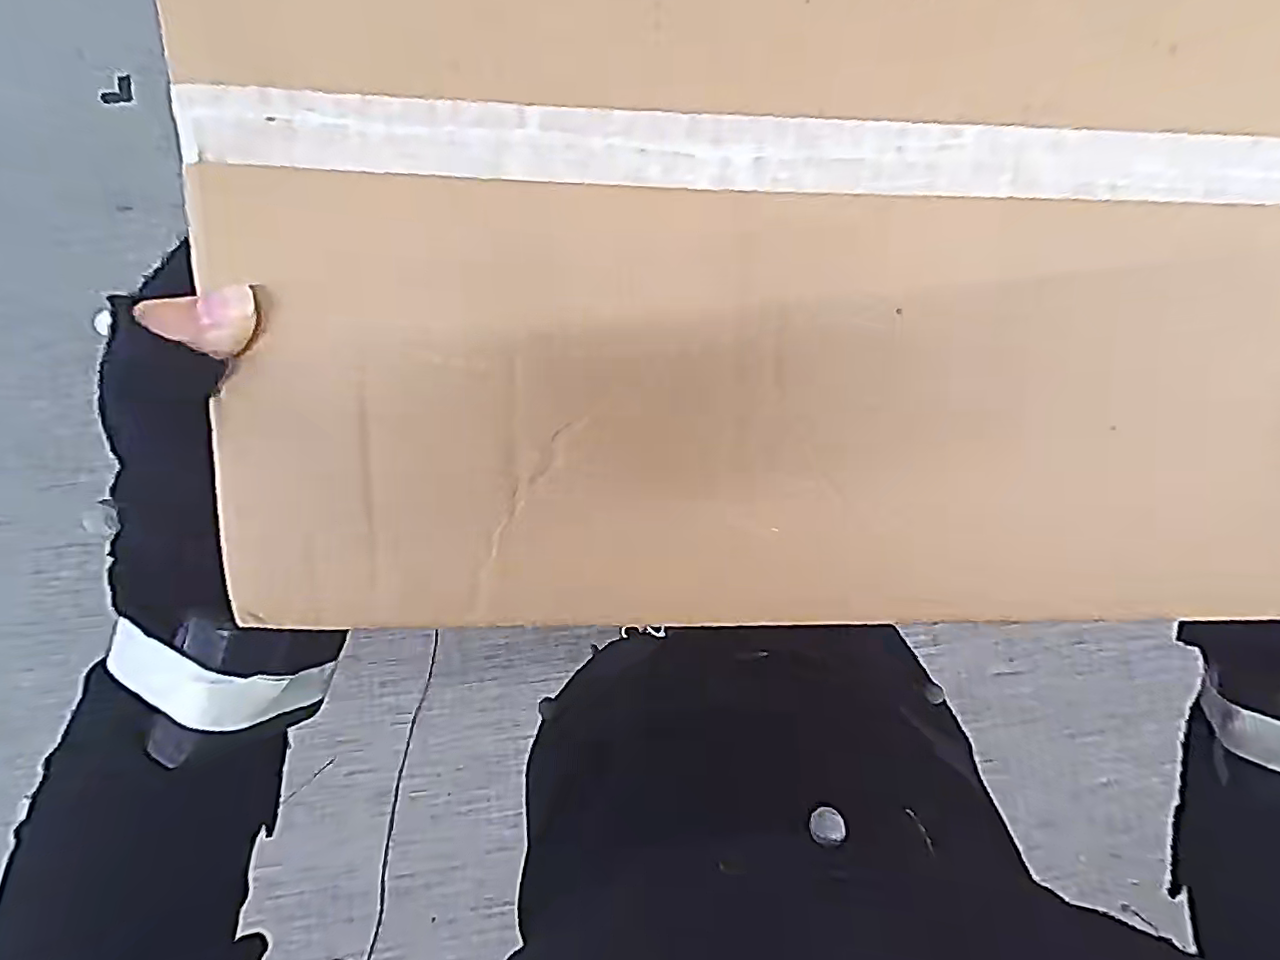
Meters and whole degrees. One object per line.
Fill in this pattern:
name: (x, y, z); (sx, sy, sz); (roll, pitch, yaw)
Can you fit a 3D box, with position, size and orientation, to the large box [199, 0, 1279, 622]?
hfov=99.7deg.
large box: (0.056, -0.126, 0.331); (0.408, 0.320, 0.320); (0, 99, -4)
